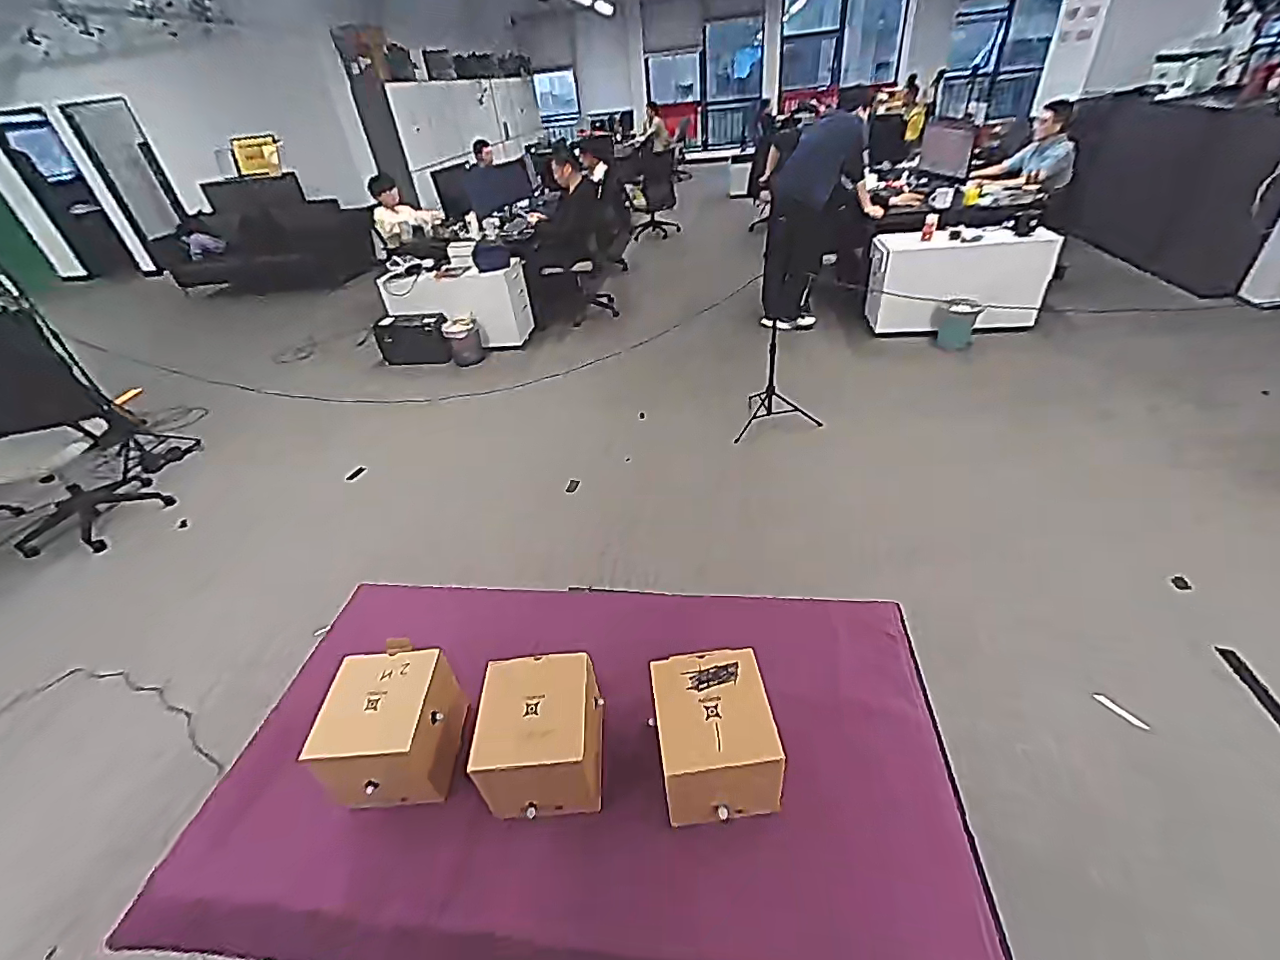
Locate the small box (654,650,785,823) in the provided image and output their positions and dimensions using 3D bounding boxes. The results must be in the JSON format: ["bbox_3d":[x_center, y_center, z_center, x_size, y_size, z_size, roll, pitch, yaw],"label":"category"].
[{"bbox_3d":[0.114,0.393,0.833,0.168,0.176,0.179,-7,37,-1],"label":"small box"}]

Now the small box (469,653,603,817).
[{"bbox_3d":[-0.152,0.404,0.861,0.168,0.176,0.179,-6,36,2],"label":"small box"}]

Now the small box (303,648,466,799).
[{"bbox_3d":[-0.403,0.405,0.894,0.168,0.176,0.179,-4,36,2],"label":"small box"}]
